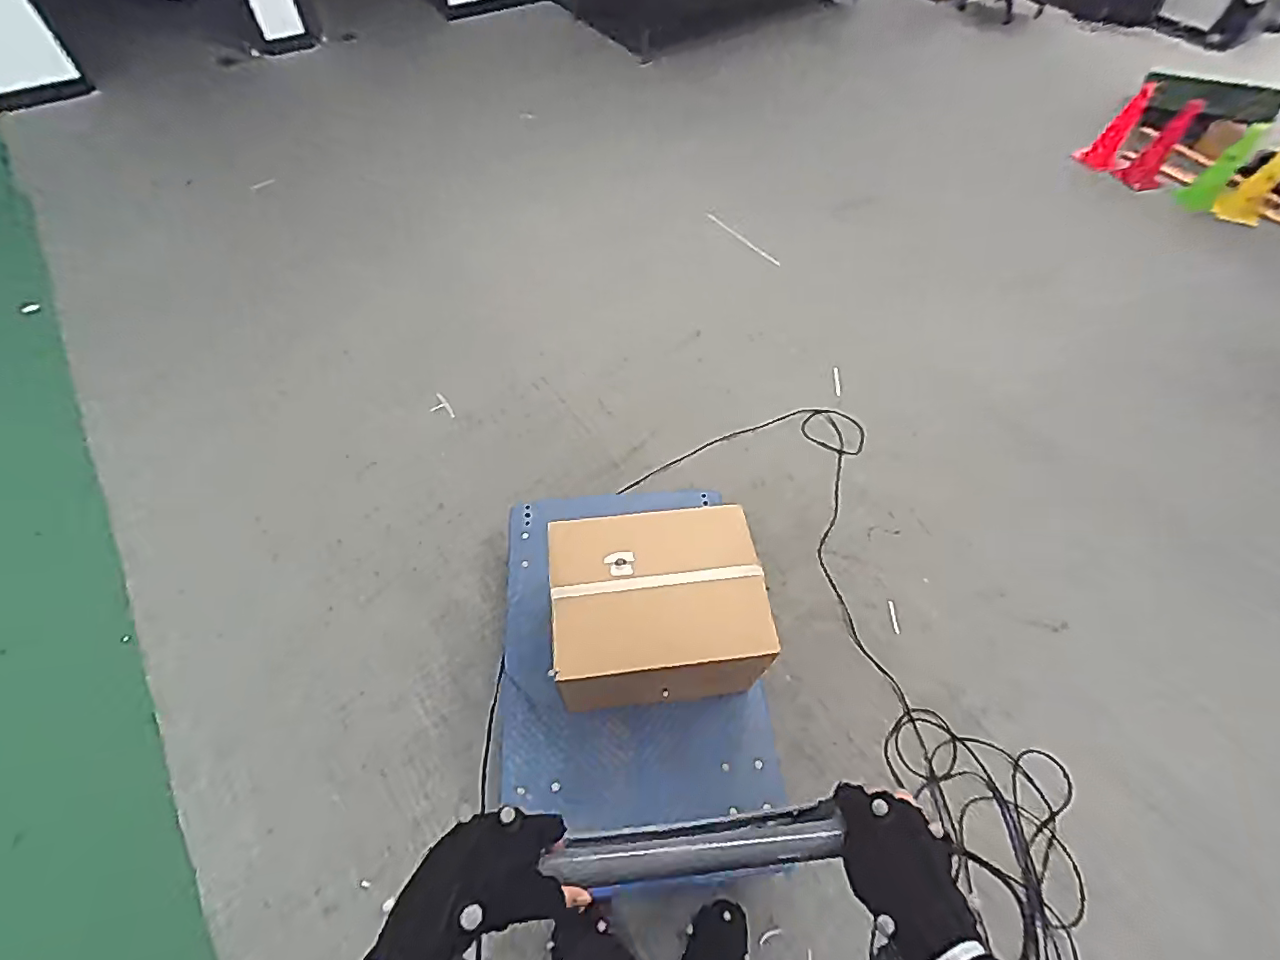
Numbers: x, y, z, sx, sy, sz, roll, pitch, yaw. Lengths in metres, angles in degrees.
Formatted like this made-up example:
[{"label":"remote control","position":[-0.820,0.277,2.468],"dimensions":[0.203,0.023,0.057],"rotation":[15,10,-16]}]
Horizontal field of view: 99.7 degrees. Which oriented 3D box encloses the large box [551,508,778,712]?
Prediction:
[{"label":"large box","position":[0.035,0.289,1.163],"dimensions":[0.408,0.320,0.320],"rotation":[-6,56,-4]}]
